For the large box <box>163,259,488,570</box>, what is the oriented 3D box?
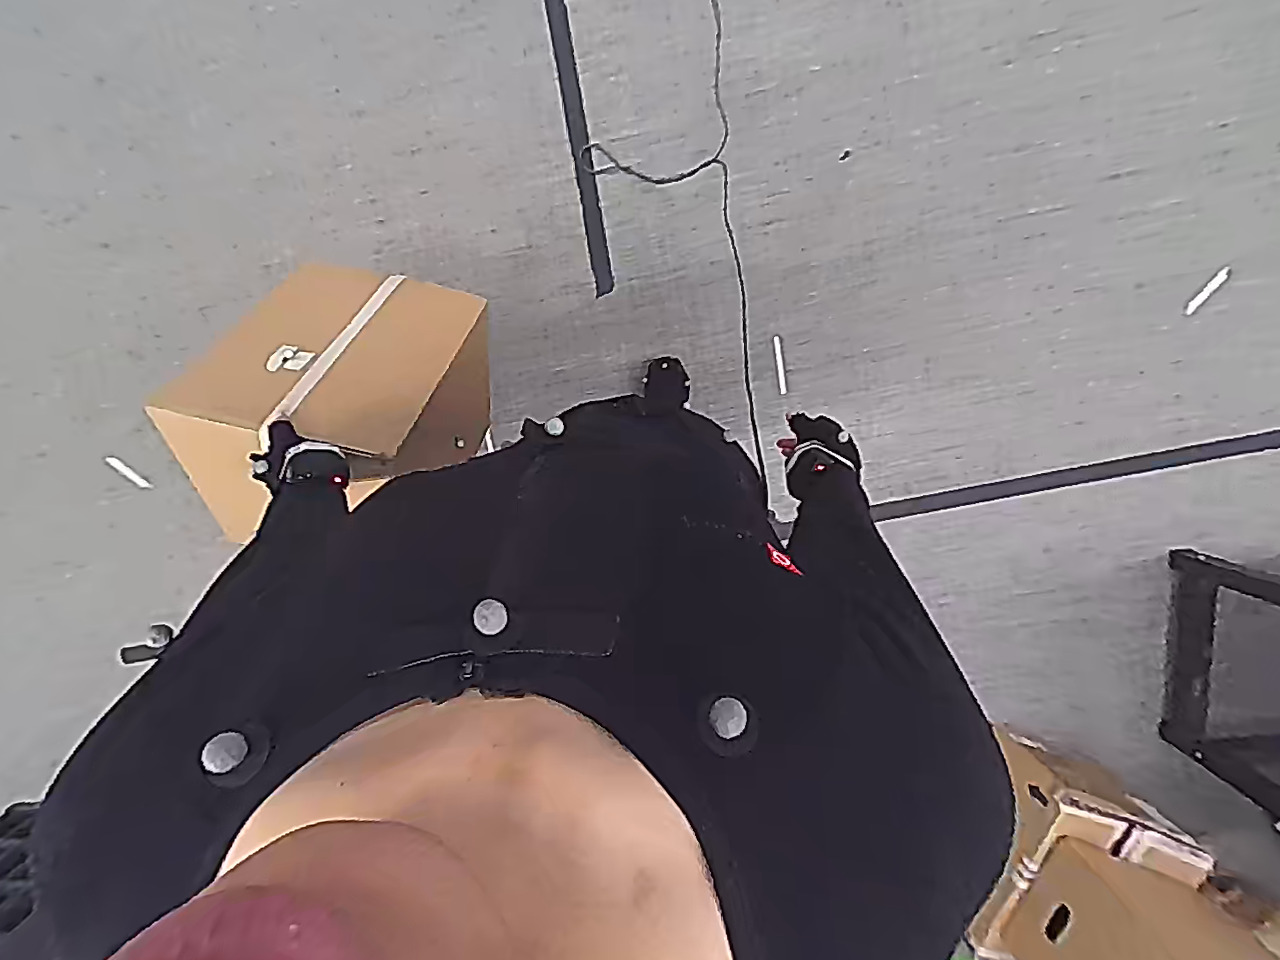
[{"bbox_3d":[-0.475,-0.115,0.946,0.320,0.408,0.320,13,139,-2],"label":"large box"}]
